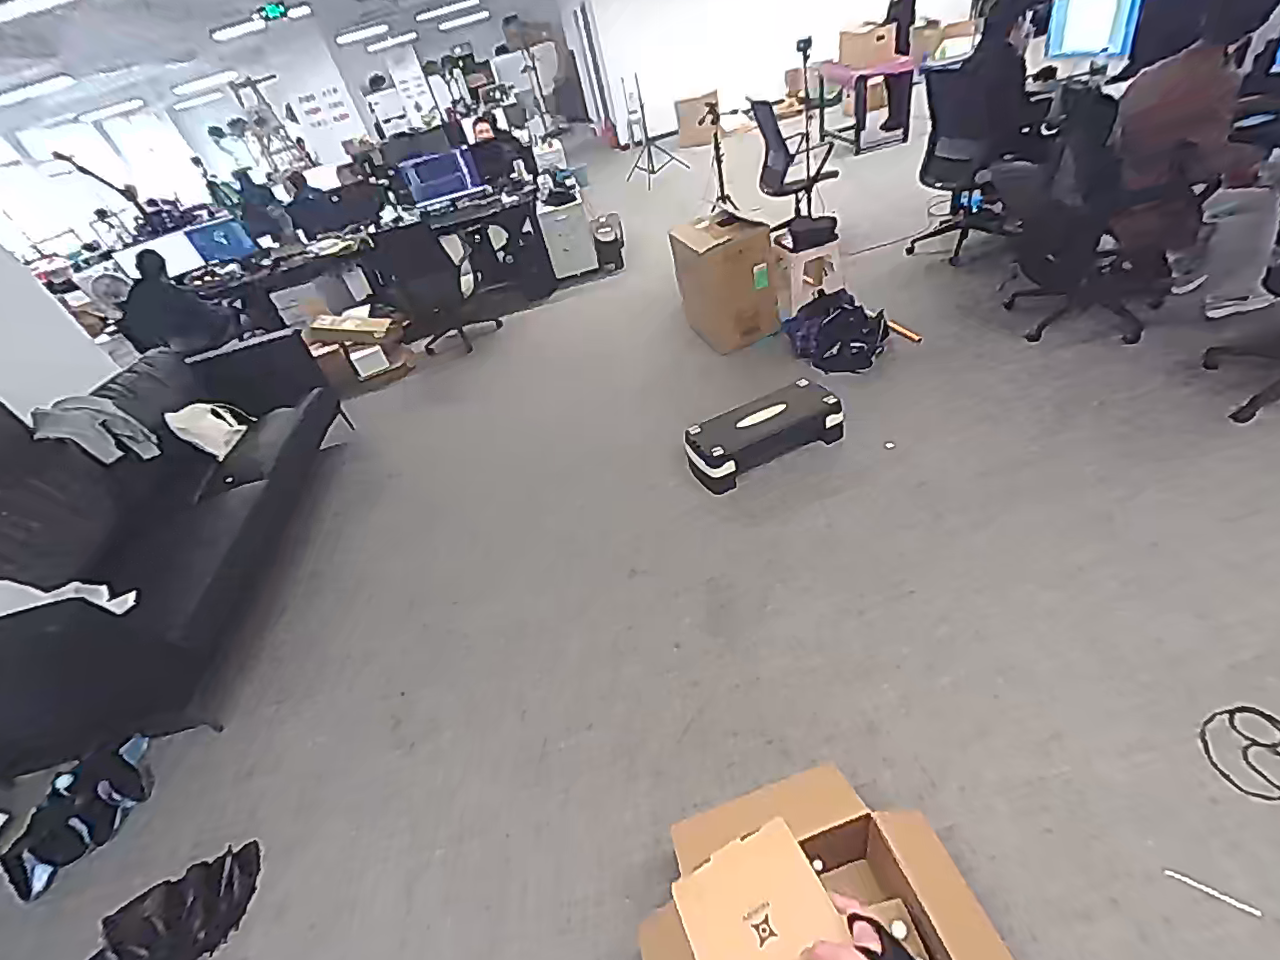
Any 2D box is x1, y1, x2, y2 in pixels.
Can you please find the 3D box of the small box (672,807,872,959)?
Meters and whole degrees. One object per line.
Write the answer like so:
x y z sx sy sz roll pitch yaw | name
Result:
0.164 0.551 0.652 0.168 0.176 0.179 -30 34 -6 | small box
